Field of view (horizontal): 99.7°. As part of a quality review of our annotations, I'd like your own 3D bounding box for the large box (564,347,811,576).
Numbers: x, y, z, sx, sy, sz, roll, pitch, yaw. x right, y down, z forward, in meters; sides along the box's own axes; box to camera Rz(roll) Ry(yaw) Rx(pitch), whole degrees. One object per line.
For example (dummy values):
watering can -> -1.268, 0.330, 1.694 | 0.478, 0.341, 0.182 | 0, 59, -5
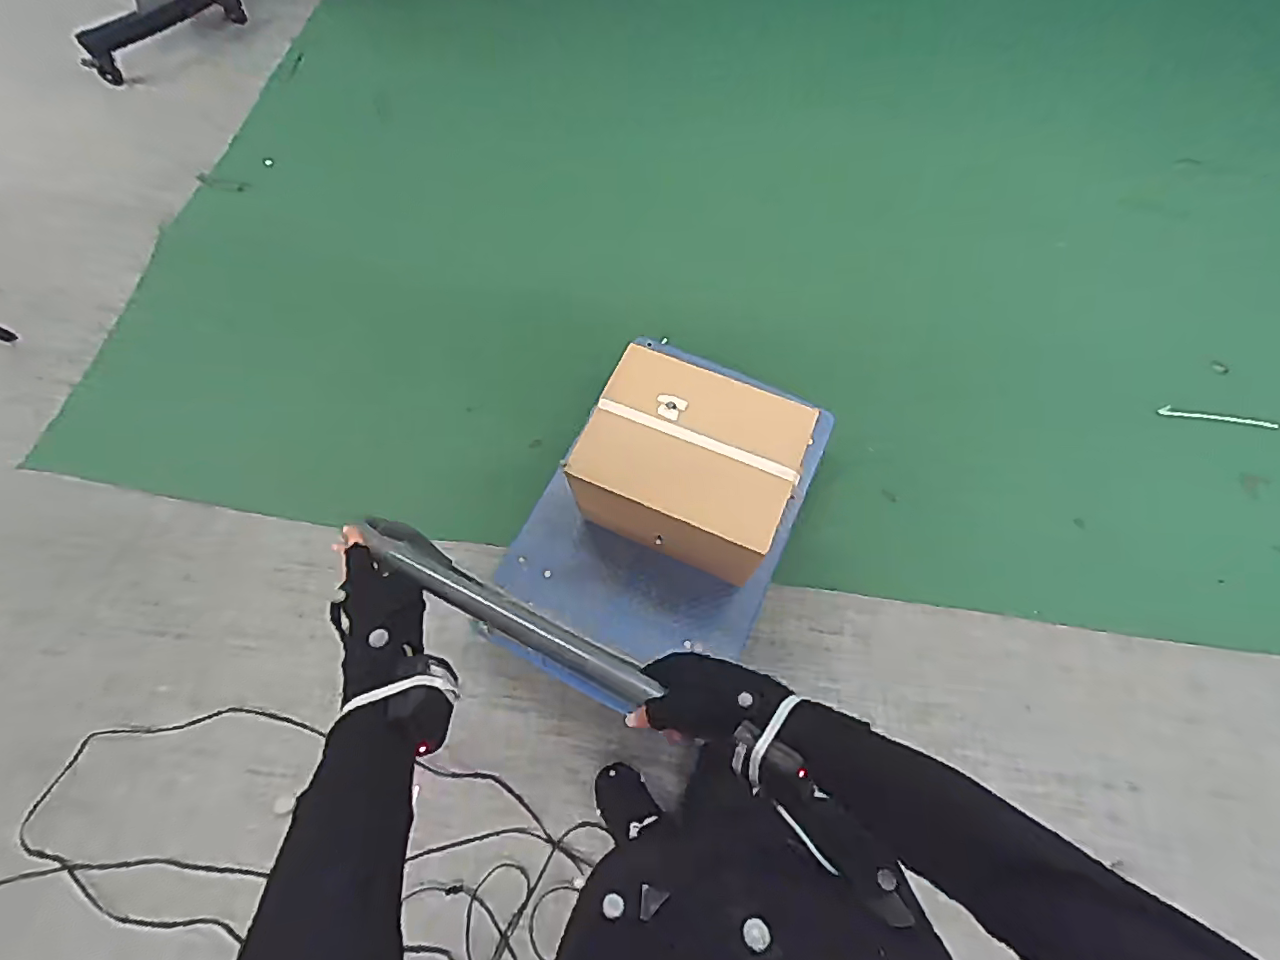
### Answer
large box -> 0.103, -0.025, 1.180 | 0.408, 0.320, 0.320 | 22, 71, 10
